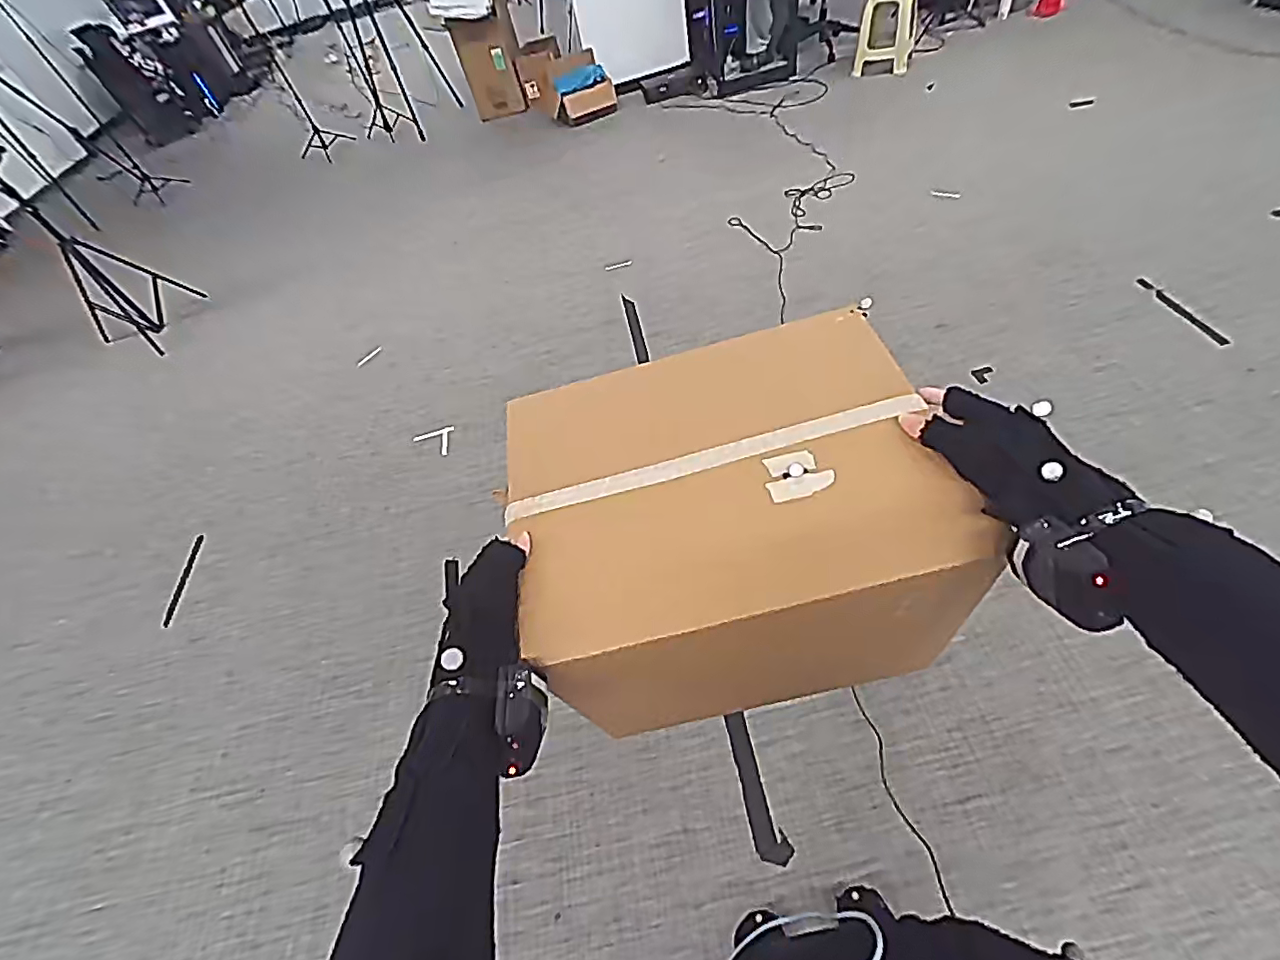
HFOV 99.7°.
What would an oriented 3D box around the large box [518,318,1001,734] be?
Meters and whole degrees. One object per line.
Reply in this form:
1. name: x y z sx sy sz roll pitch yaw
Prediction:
1. large box: 0.103 0.071 0.648 0.408 0.320 0.320 -15 54 3
